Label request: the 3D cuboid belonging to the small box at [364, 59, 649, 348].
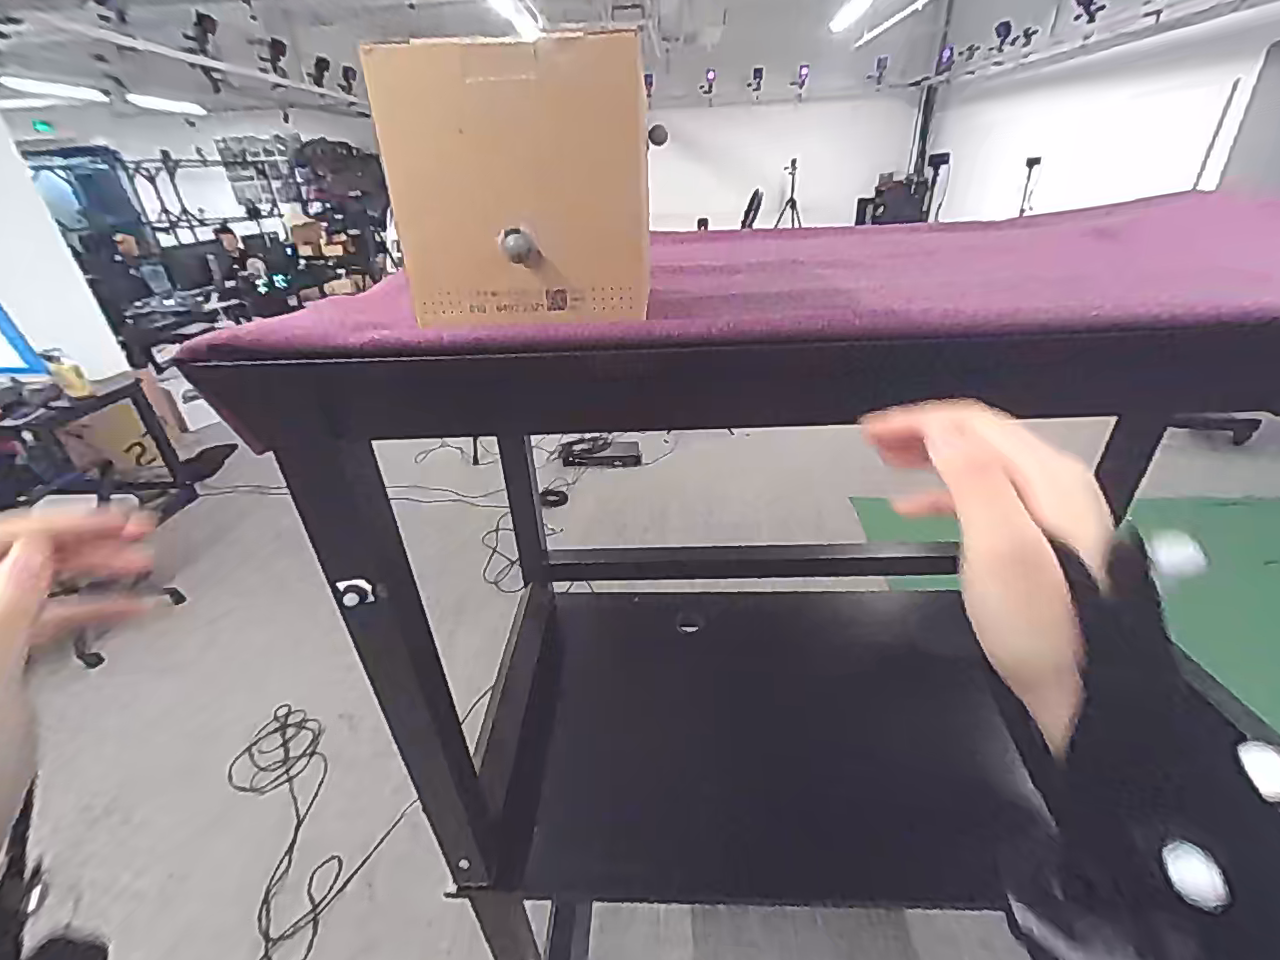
[{"bbox_3d":[-0.079,-0.209,0.427,0.168,0.176,0.179,-1,29,3],"label":"small box"}]
